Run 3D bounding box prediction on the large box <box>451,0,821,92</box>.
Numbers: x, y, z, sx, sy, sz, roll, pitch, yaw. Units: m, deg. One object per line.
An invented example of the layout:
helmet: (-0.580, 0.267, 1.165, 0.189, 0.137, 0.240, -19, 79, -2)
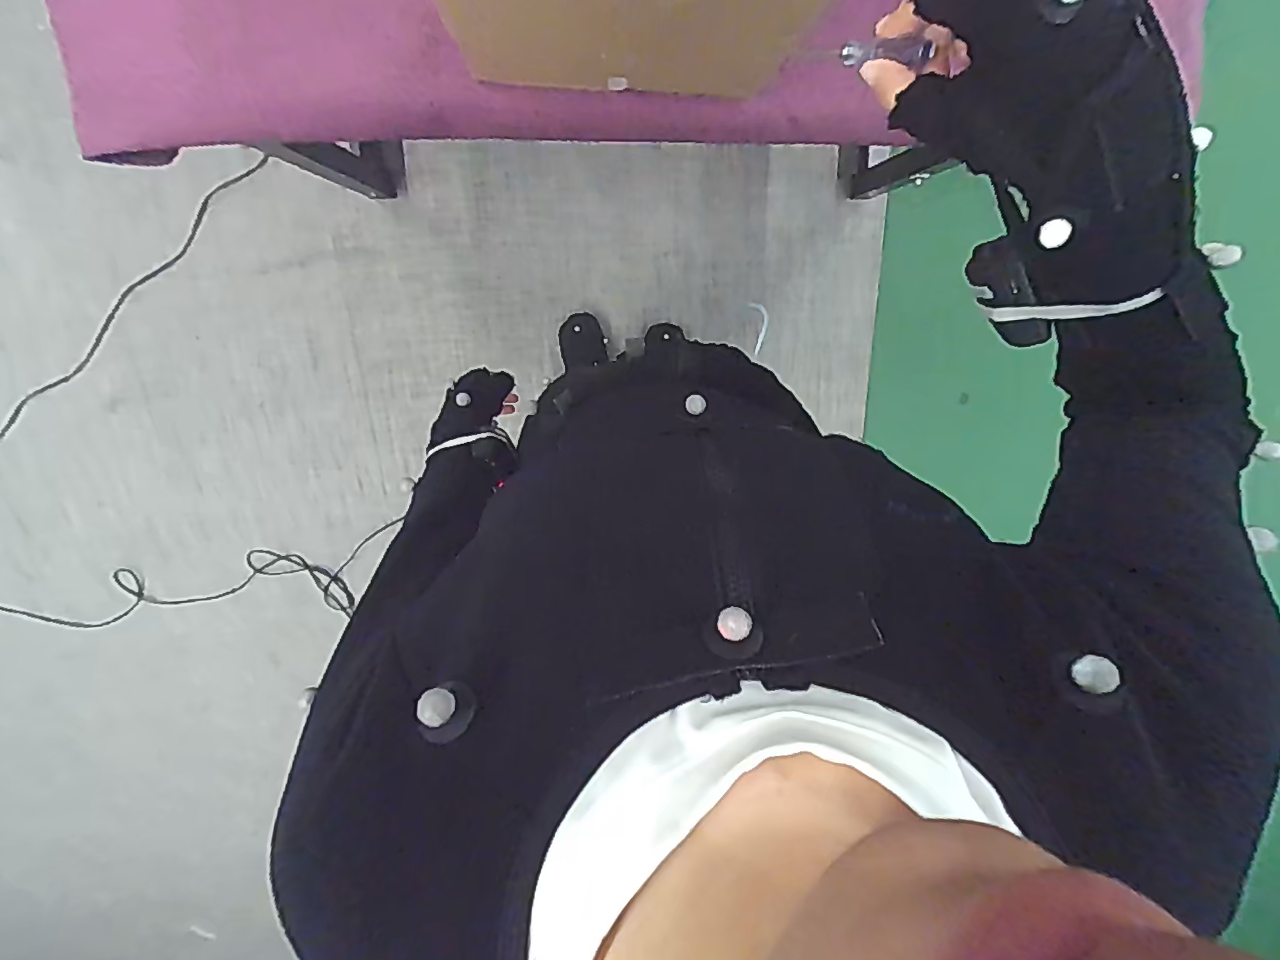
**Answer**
large box: (-0.005, -0.584, 0.402, 0.320, 0.320, 0.408, 0, 109, -5)
